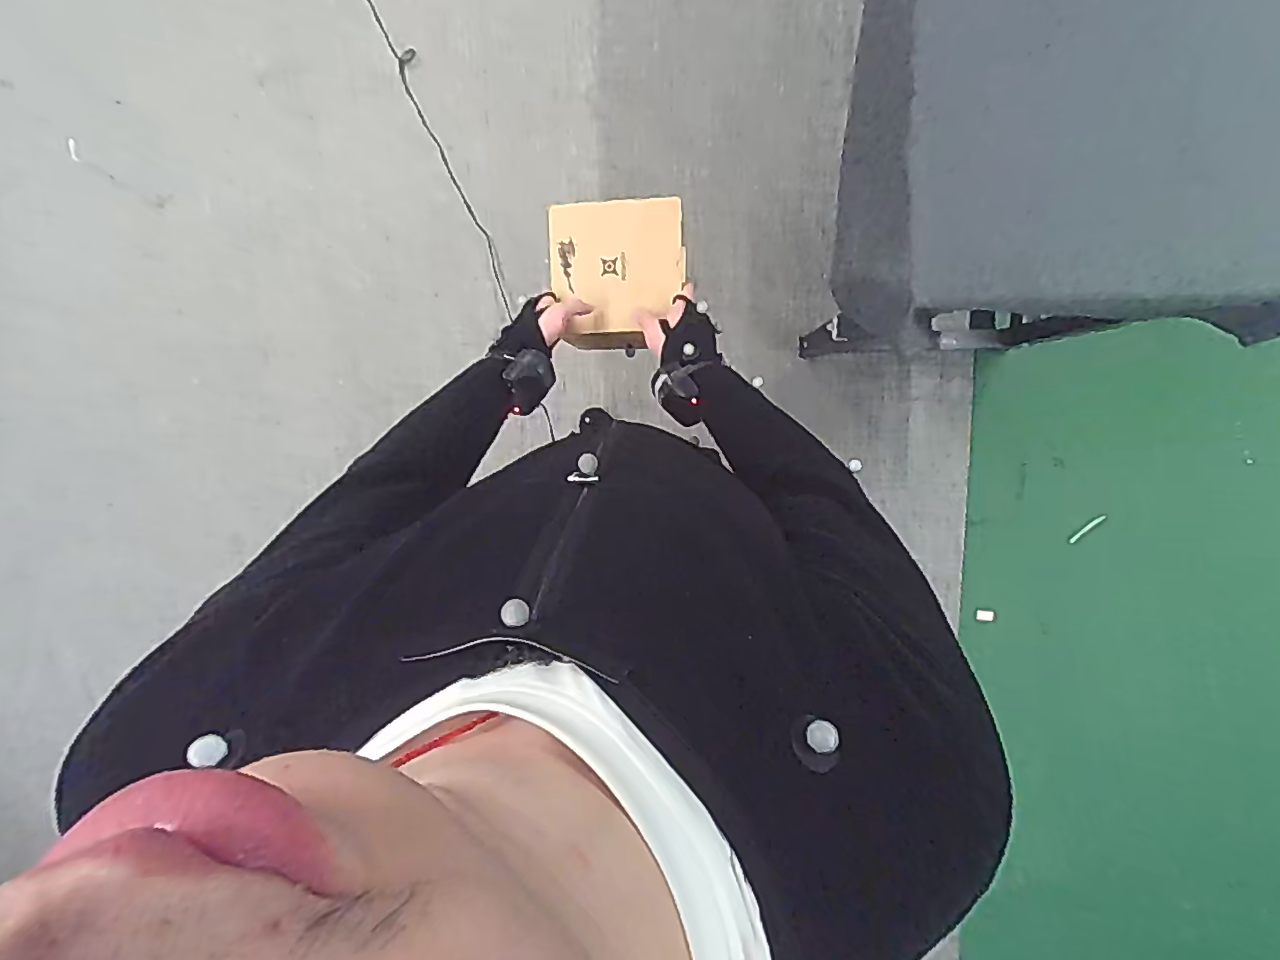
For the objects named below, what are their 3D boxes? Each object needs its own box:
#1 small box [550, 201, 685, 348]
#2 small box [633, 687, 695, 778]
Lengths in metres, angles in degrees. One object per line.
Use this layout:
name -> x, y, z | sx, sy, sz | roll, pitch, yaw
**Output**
small box -> -0.024, -0.285, 0.779 | 0.179, 0.176, 0.168 | 0, 97, 5
small box -> 0.067, 0.725, 1.560 | 0.168, 0.176, 0.179 | 1, 96, 0
